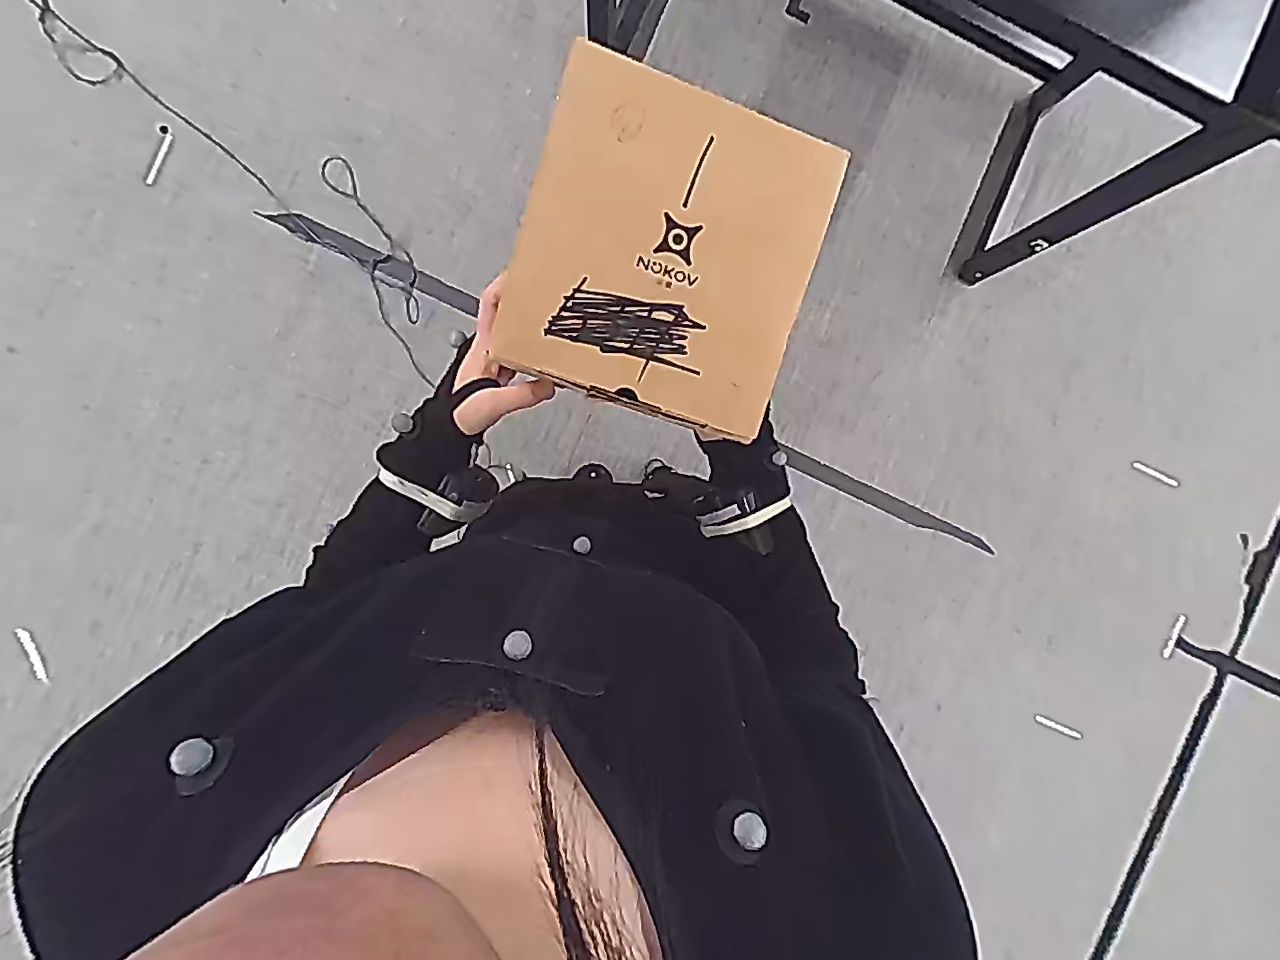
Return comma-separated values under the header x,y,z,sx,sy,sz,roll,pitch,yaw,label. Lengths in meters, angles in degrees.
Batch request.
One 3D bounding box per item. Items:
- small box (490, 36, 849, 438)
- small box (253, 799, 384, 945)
x,y,z,sx,sy,sz,roll,pitch,yaw,label
0.009,-0.140,0.383,0.168,0.176,0.179,17,95,-9,small box
-0.714,0.877,1.225,0.168,0.176,0.179,26,89,-5,small box
